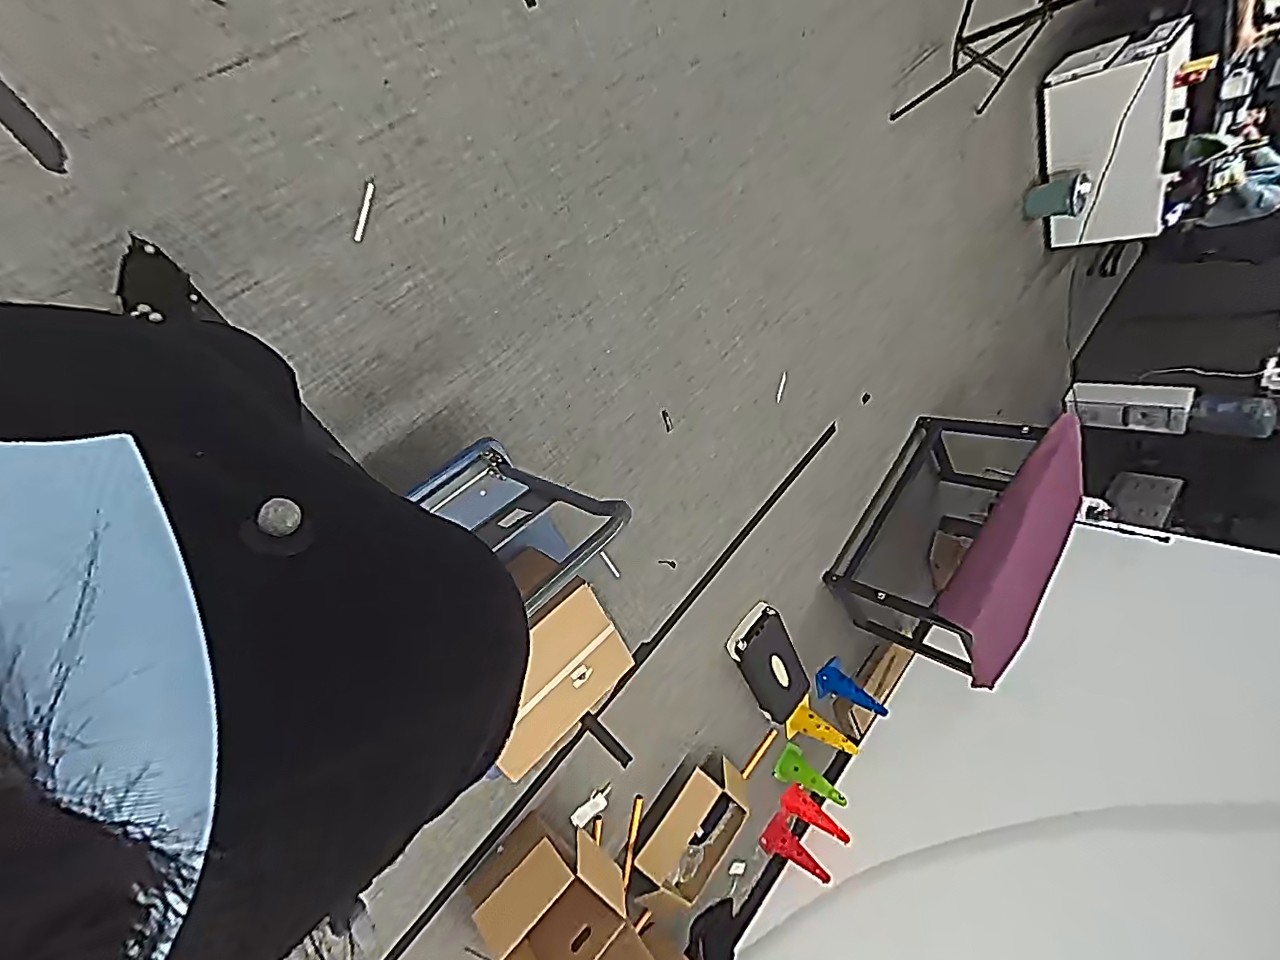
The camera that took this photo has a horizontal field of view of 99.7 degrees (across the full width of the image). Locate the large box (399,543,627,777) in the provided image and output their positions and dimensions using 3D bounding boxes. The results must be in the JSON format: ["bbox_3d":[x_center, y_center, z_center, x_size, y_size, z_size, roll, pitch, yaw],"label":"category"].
[{"bbox_3d":[-0.318,0.430,1.373,0.408,0.320,0.320,-40,123,-25],"label":"large box"}]
